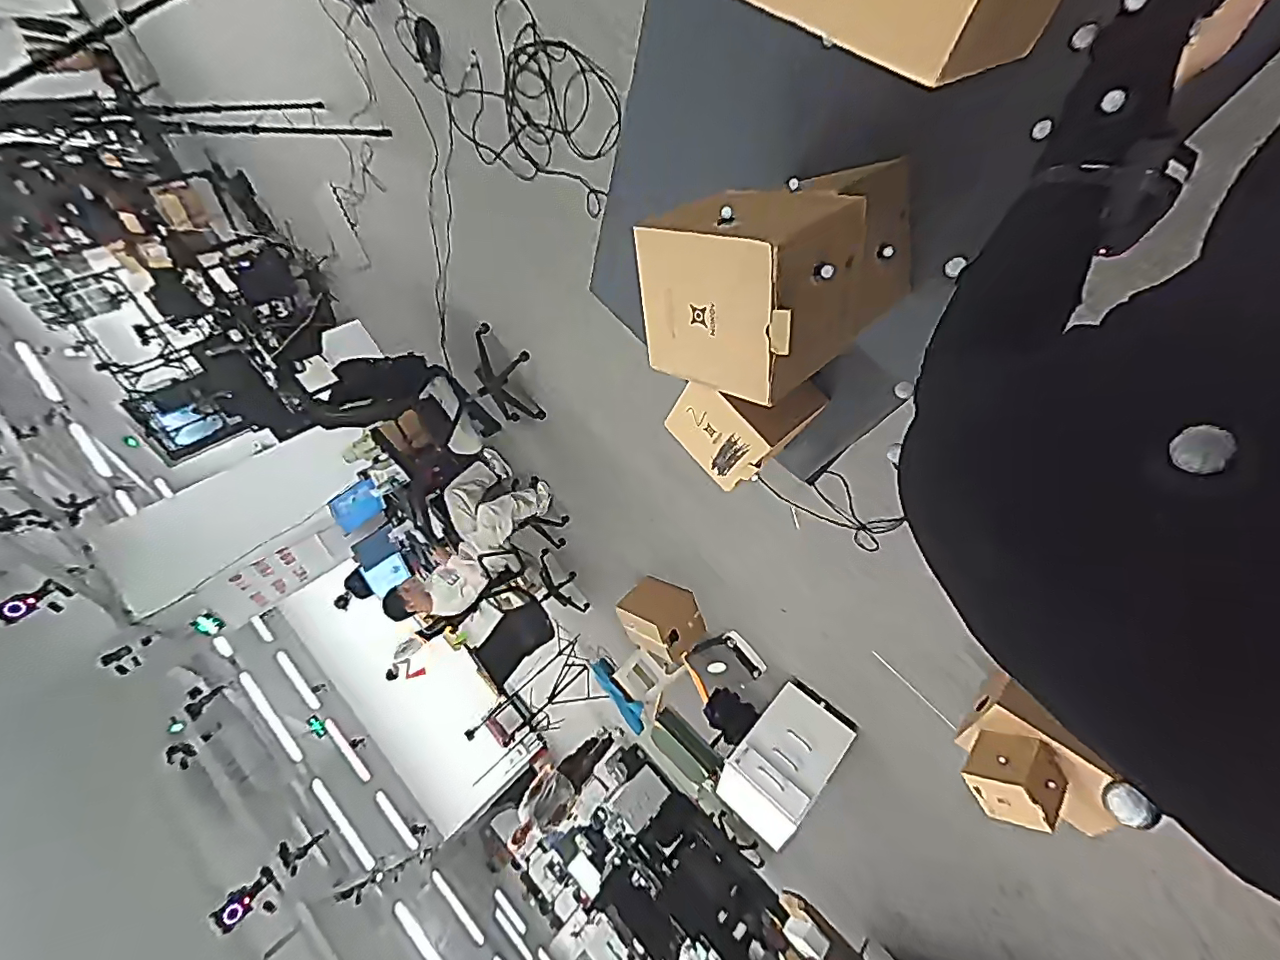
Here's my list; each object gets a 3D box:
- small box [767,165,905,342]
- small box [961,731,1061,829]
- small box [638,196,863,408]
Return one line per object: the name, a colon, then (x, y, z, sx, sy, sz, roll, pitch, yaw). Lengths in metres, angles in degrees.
small box: (0.228, -0.289, 0.703, 0.179, 0.176, 0.168, 16, 133, 46)
small box: (1.081, 0.858, 1.567, 0.168, 0.176, 0.179, 56, 147, -5)
small box: (0.125, -0.208, 0.605, 0.179, 0.176, 0.168, 28, 140, 38)
